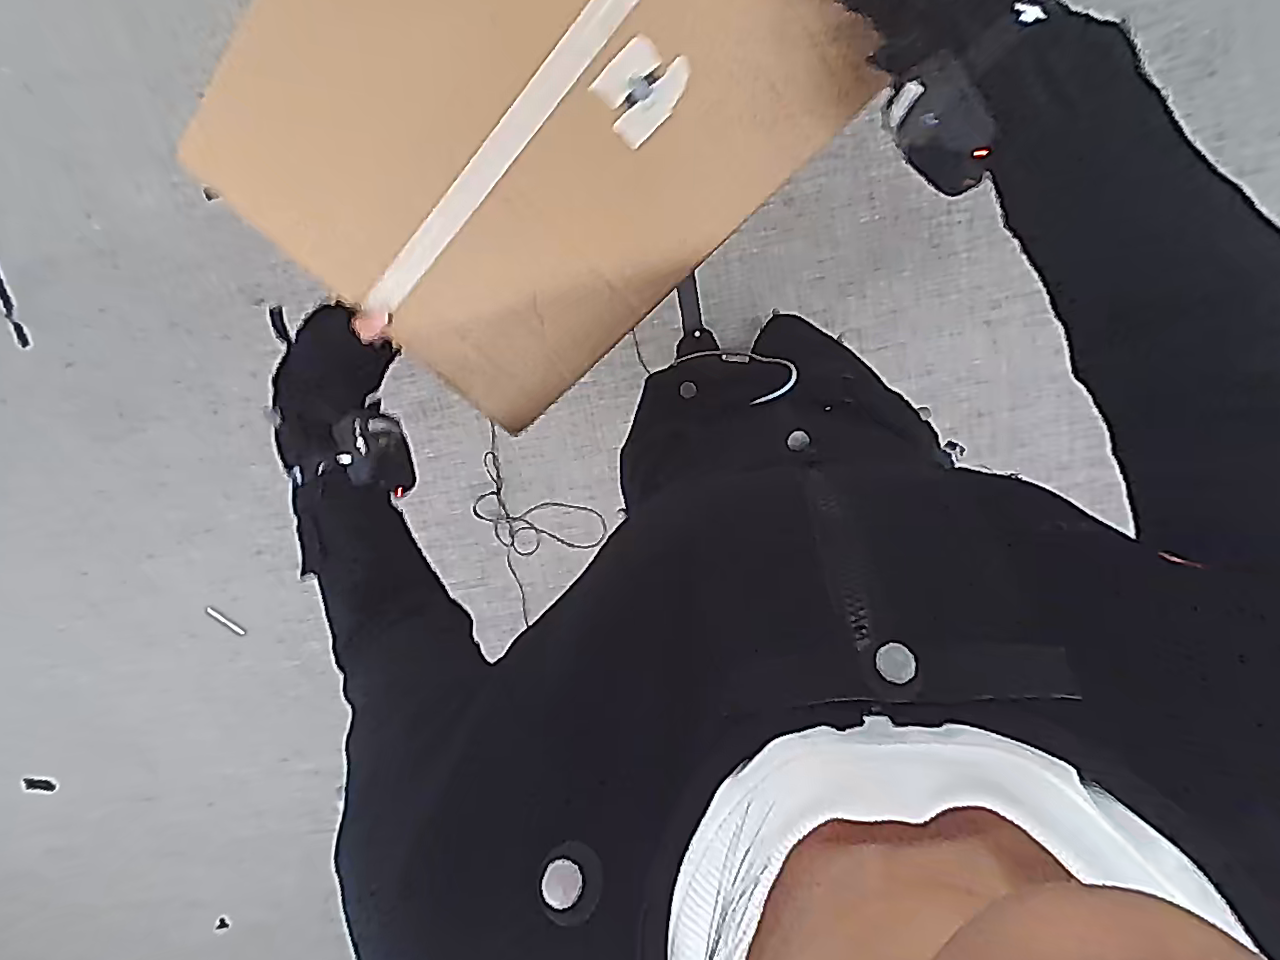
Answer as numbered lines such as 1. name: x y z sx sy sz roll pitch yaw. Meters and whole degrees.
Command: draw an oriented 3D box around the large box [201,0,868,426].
1. large box: -0.089 -0.335 0.513 0.320 0.320 0.408 39 113 -22
